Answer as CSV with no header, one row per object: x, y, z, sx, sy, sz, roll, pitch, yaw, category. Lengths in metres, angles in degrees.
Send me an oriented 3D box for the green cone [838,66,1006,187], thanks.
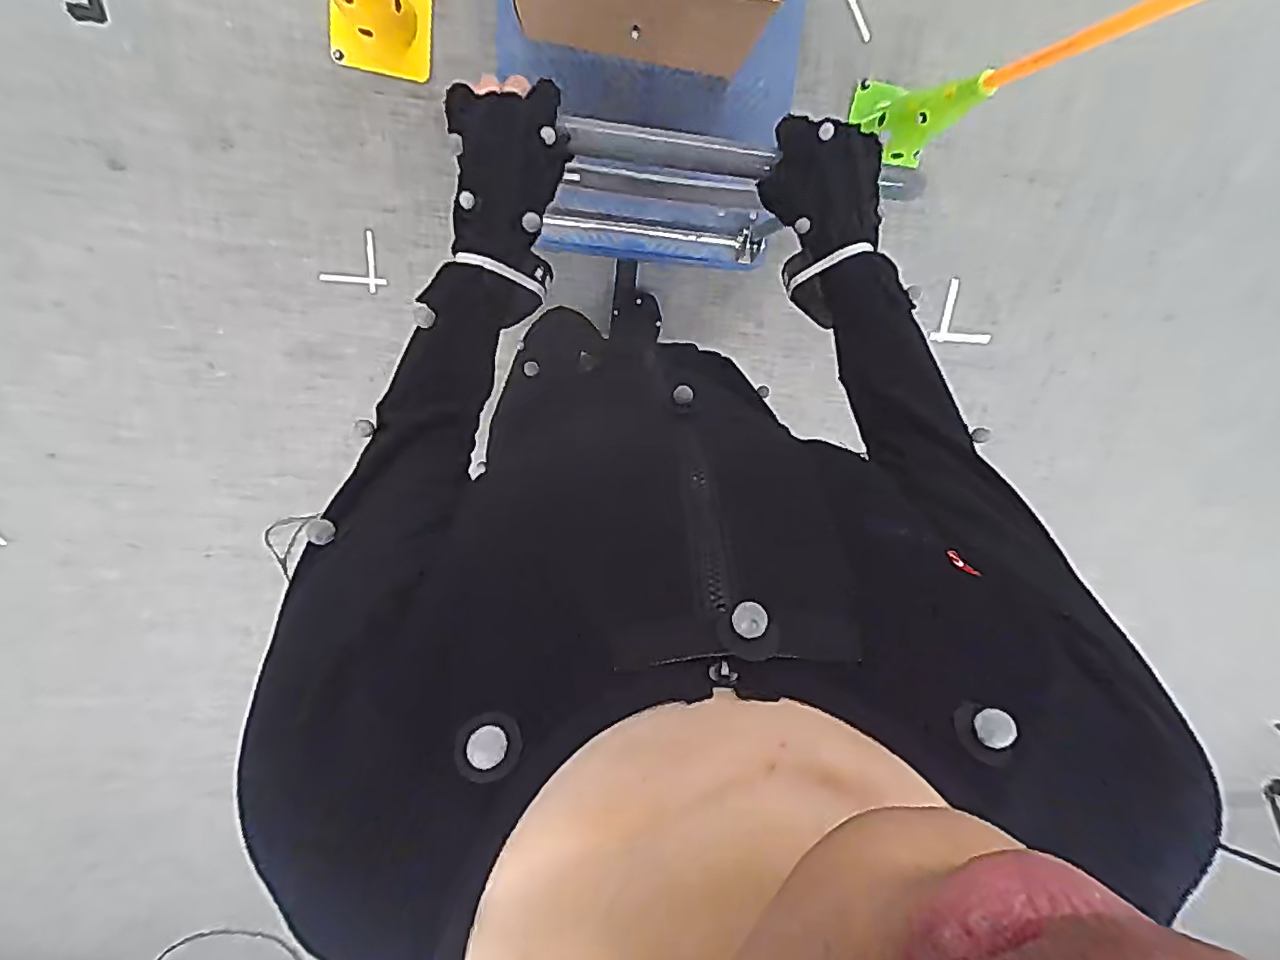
0.596,-0.756,1.108,0.202,0.368,0.200,8,109,-9,green cone

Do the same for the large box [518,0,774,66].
0.013,-0.908,0.845,0.408,0.320,0.320,6,109,-7,large box
